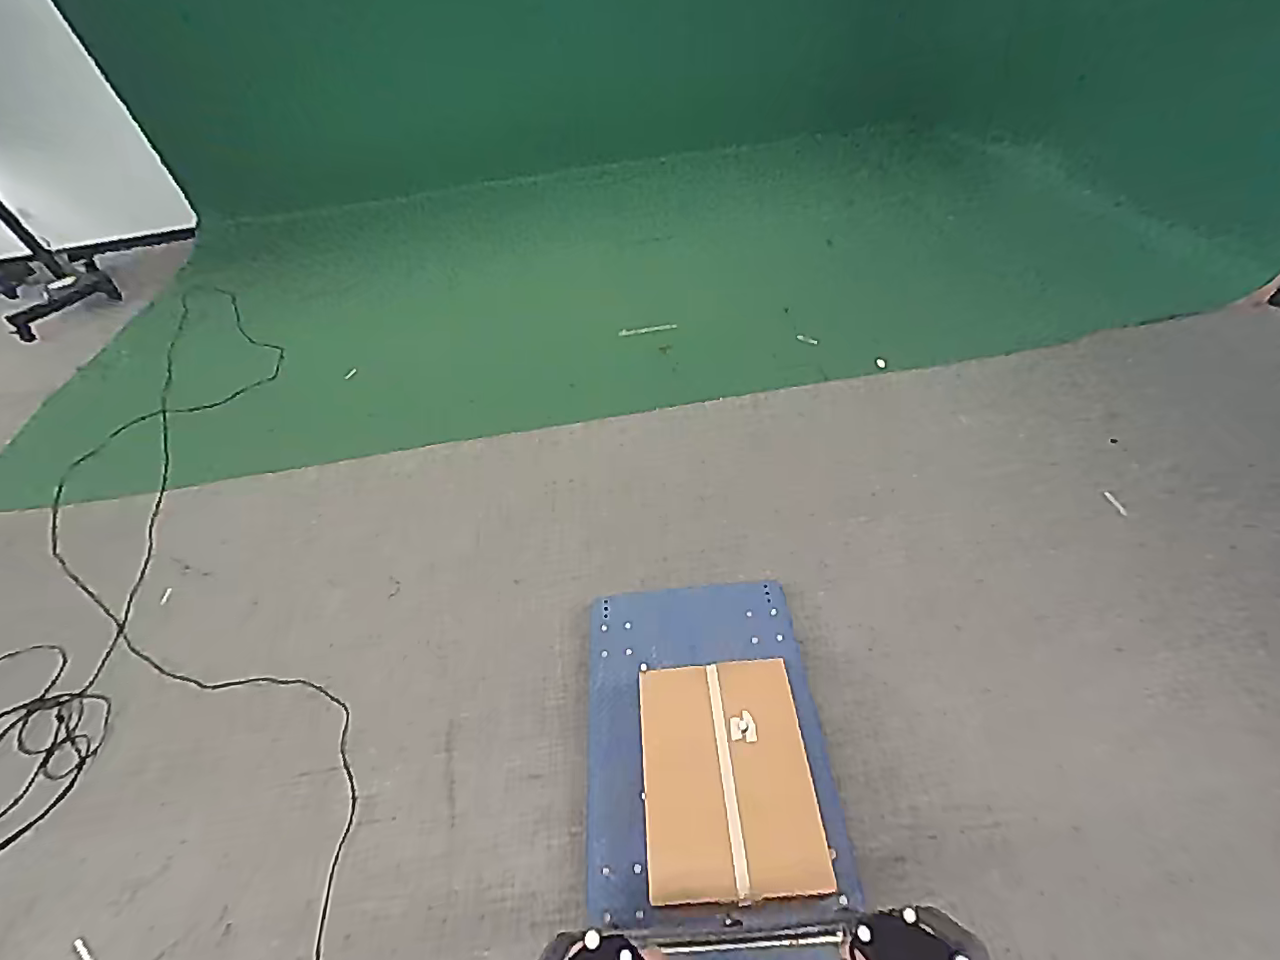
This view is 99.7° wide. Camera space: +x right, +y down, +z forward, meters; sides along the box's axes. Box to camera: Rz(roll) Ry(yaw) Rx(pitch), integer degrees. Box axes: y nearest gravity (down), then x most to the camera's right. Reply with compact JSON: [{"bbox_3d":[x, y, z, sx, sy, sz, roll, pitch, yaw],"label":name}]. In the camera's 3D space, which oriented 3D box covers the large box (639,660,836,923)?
[{"bbox_3d":[0.176,0.648,1.134,0.320,0.320,0.408,-6,46,1],"label":"large box"}]
